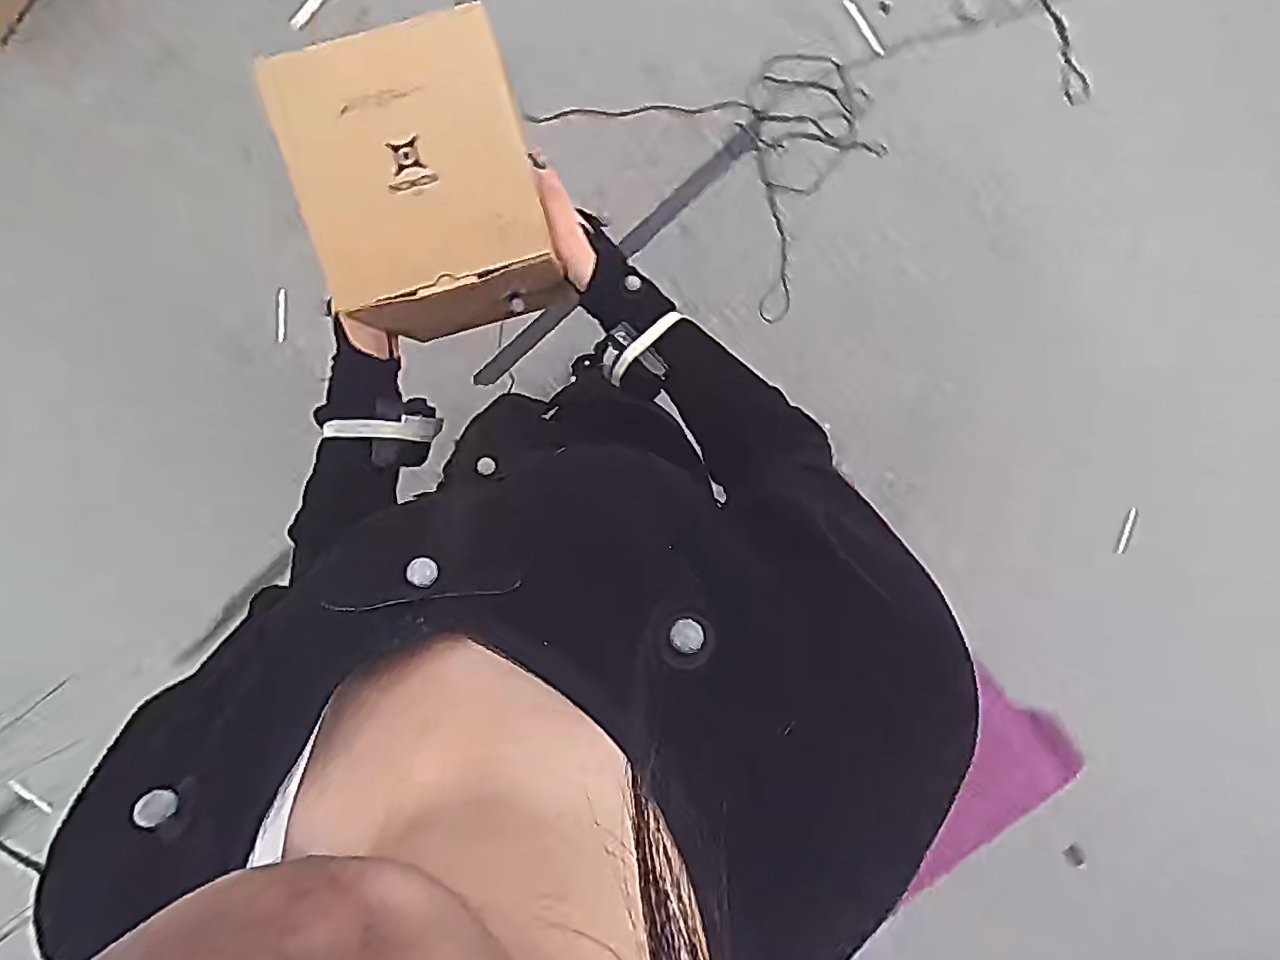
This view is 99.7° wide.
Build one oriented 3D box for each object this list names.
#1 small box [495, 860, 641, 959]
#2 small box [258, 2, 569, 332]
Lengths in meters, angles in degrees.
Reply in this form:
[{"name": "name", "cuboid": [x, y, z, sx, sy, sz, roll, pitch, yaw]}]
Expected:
[{"name": "small box", "cuboid": [-0.114, 0.747, 0.847, 0.168, 0.176, 0.179, -41, 103, 5]}, {"name": "small box", "cuboid": [-0.165, -0.235, 0.461, 0.168, 0.176, 0.179, -16, 97, -1]}]
